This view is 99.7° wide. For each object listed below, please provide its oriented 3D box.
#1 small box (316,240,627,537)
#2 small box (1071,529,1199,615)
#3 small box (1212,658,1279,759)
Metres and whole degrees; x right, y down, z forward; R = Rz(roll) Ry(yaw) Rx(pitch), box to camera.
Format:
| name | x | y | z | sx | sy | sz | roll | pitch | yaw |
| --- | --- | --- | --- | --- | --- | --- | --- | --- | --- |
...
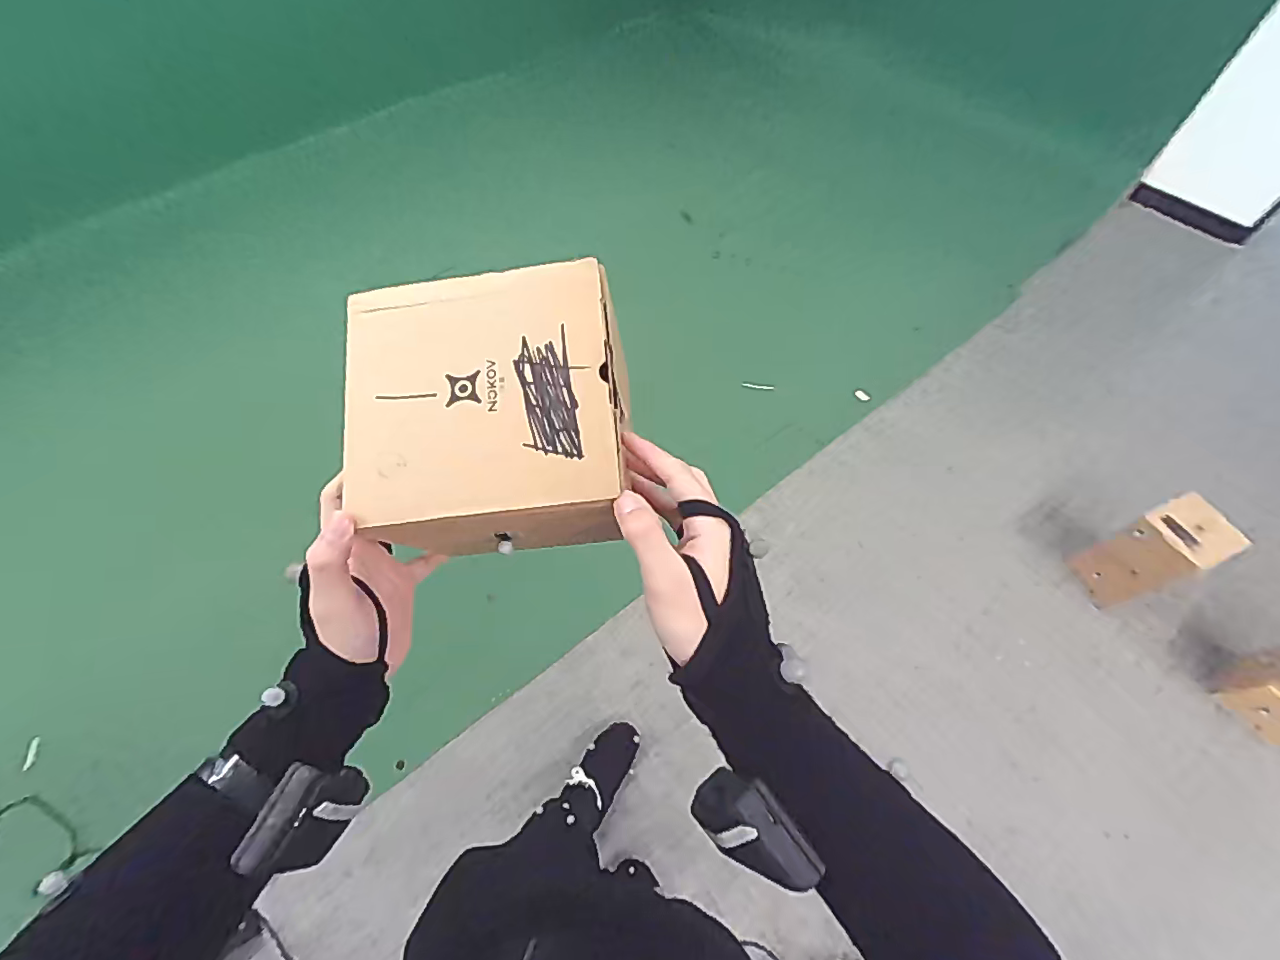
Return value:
| name | x | y | z | sx | sy | sz | roll | pitch | yaw |
| --- | --- | --- | --- | --- | --- | --- | --- | --- | --- |
| small box | -0.102 | -0.051 | 0.407 | 0.179 | 0.176 | 0.168 | -4 | 76 | 4 |
| small box | 1.365 | 0.262 | 1.513 | 0.179 | 0.176 | 0.168 | -15 | 62 | -8 |
| small box | 1.600 | 0.567 | 1.340 | 0.179 | 0.176 | 0.168 | -33 | 65 | -17 |
